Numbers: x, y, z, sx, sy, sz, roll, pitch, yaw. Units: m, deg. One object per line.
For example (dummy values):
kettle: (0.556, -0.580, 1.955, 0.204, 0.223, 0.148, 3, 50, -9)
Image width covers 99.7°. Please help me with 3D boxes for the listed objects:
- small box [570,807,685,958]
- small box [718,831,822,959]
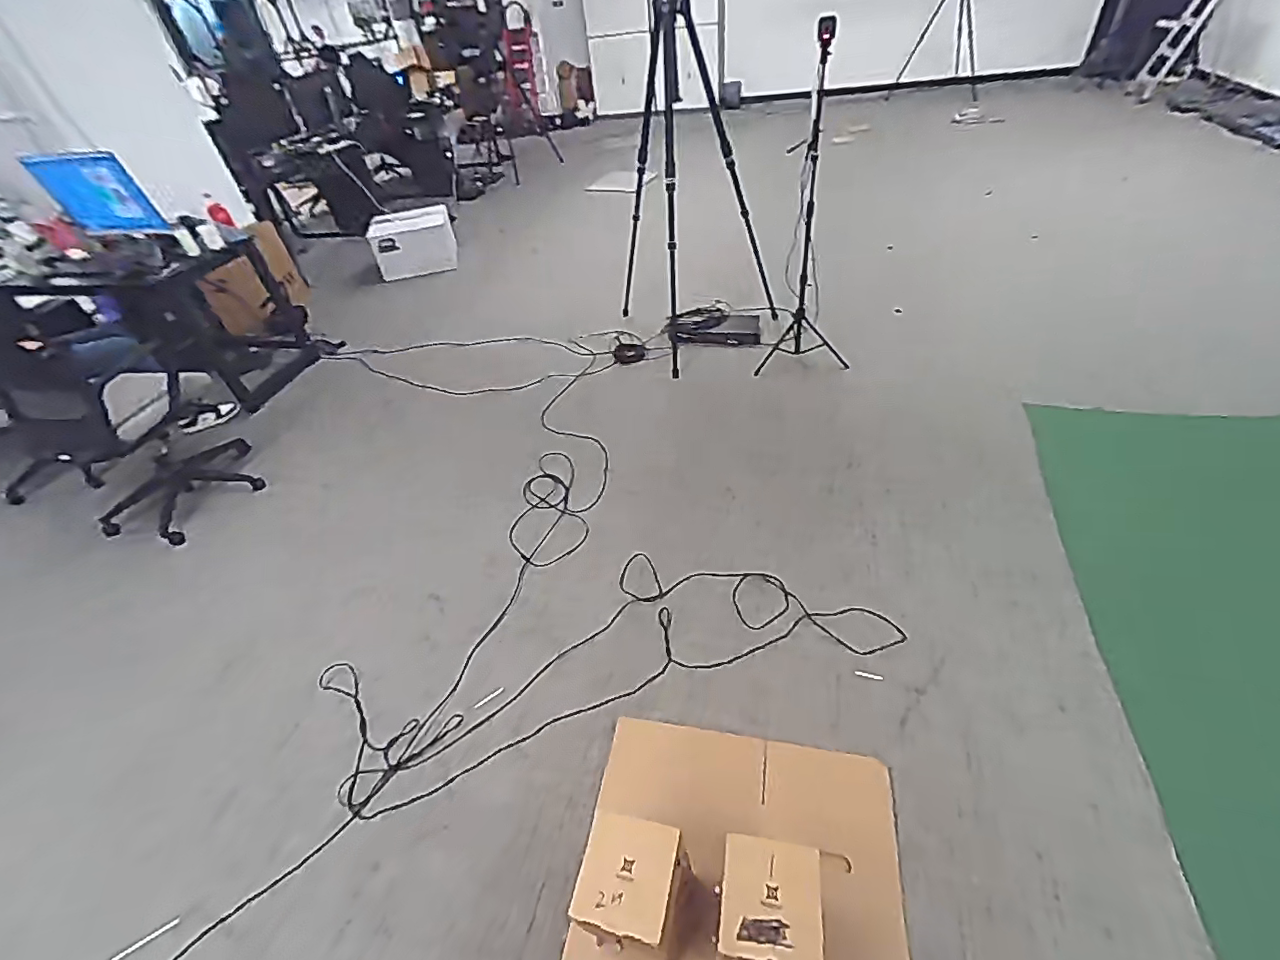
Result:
small box: (-0.013, 0.755, 1.017, 0.168, 0.176, 0.179, 5, 45, 16)
small box: (0.231, 0.765, 0.969, 0.168, 0.176, 0.179, 3, 44, 12)
